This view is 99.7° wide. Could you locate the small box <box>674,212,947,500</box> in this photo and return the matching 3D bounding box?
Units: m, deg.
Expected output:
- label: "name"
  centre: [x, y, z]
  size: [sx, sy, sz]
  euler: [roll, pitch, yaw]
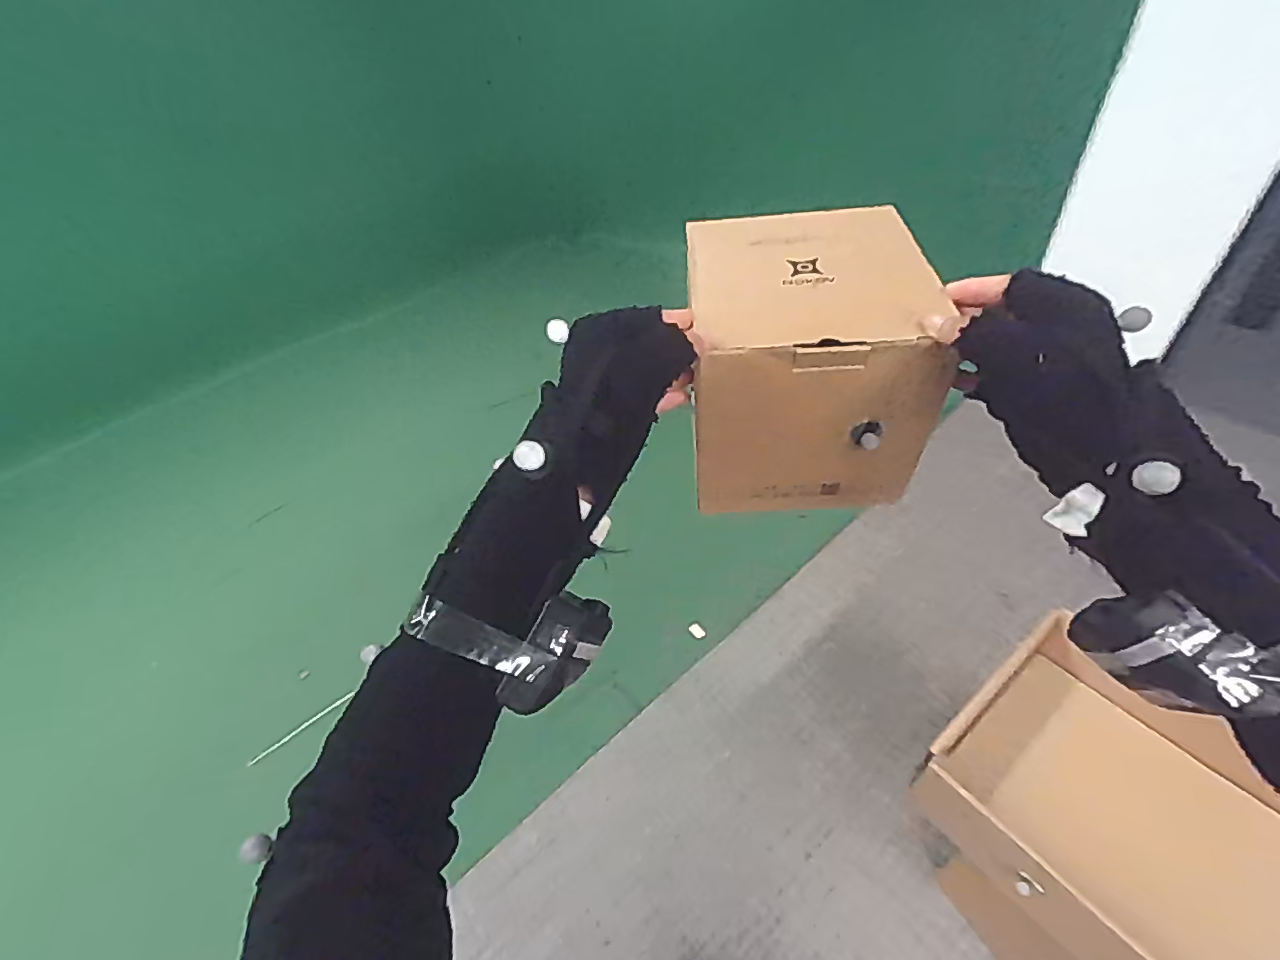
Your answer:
- label: "small box"
  centre: [0.116, -0.094, 0.448]
  size: [0.168, 0.176, 0.179]
  euler: [-3, 49, 3]
